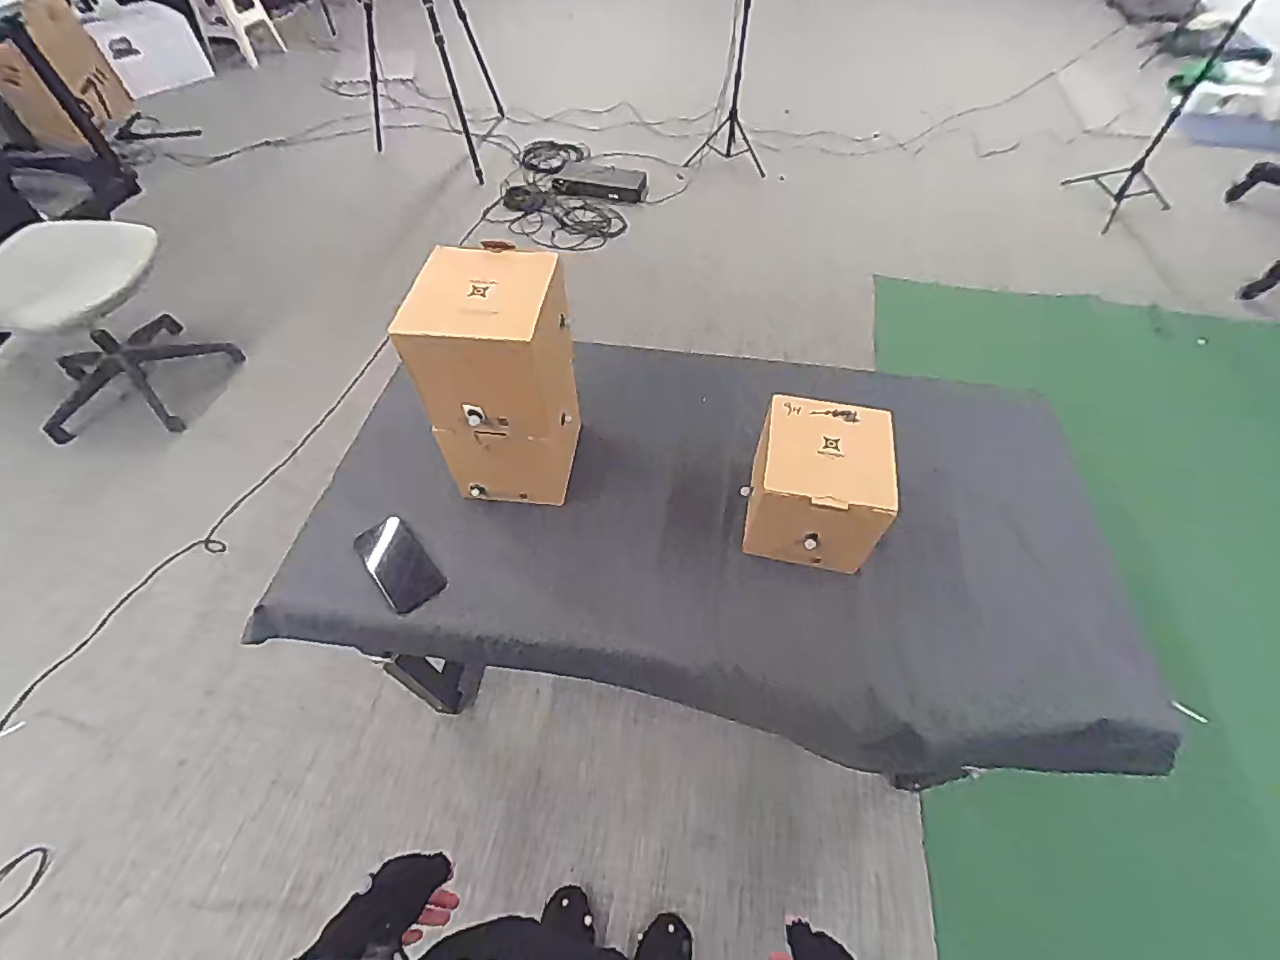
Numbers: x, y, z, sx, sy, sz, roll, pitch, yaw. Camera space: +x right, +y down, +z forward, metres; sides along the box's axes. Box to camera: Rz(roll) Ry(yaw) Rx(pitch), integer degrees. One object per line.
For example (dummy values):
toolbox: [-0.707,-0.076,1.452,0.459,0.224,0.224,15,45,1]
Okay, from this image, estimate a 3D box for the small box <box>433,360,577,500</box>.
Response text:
small box: [-0.196,-0.085,0.847,0.168,0.176,0.179,5,54,2]

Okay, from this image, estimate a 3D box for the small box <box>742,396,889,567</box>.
small box: [0.247,0.007,0.788,0.168,0.176,0.179,10,55,7]

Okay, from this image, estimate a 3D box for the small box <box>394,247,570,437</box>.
small box: [-0.191,-0.180,0.715,0.168,0.176,0.179,4,56,3]
